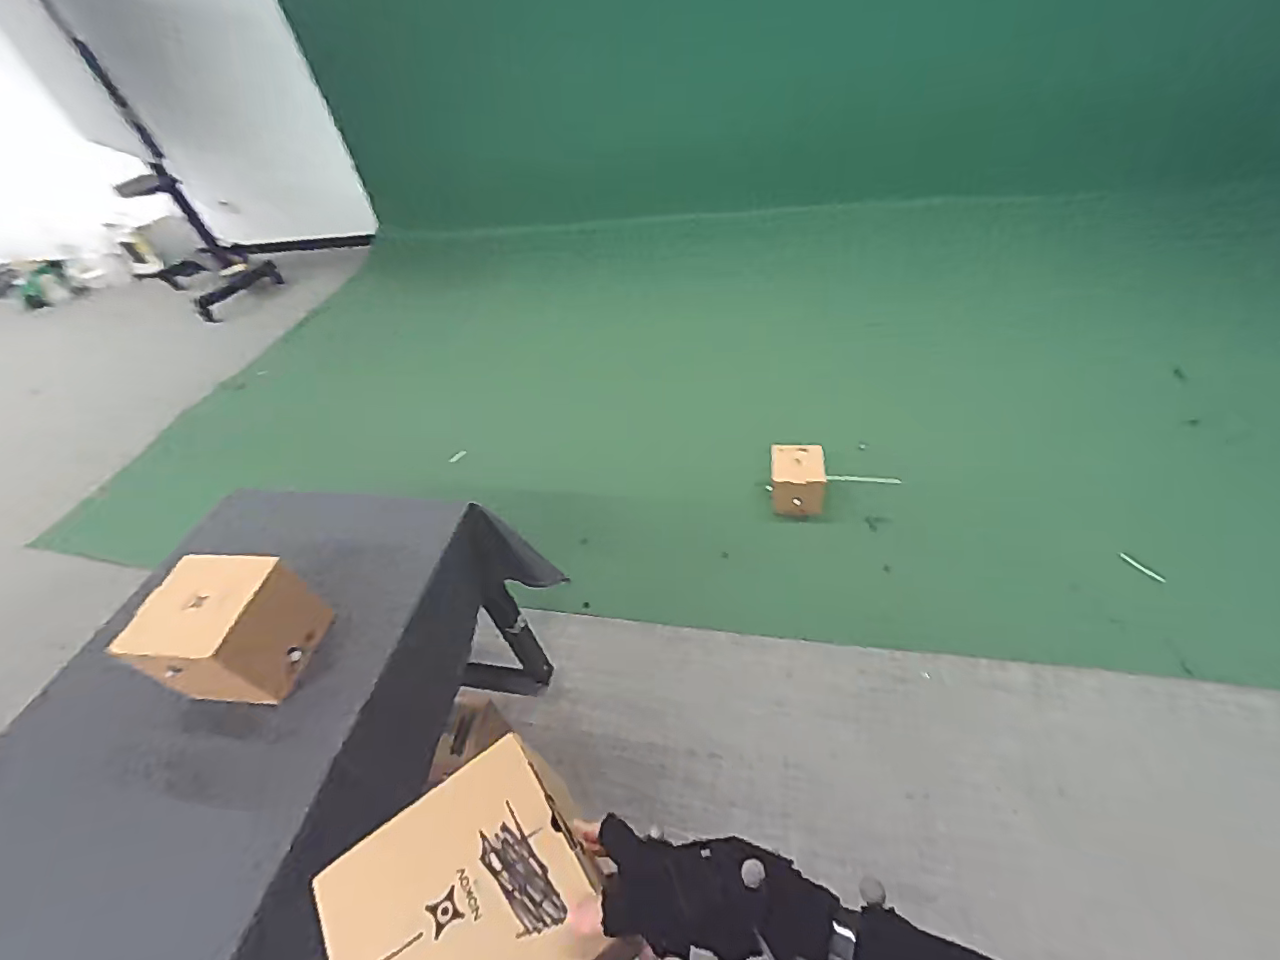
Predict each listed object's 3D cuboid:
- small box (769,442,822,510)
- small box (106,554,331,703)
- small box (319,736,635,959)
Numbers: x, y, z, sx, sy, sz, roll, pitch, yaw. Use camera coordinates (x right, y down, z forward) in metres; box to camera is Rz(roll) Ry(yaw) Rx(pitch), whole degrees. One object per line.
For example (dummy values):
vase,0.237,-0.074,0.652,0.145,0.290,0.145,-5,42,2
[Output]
small box,0.533,-0.012,1.861,0.168,0.176,0.179,2,48,13
small box,-0.635,0.232,0.840,0.179,0.176,0.168,0,48,11
small box,-0.117,0.353,0.441,0.179,0.176,0.168,-31,50,-16
